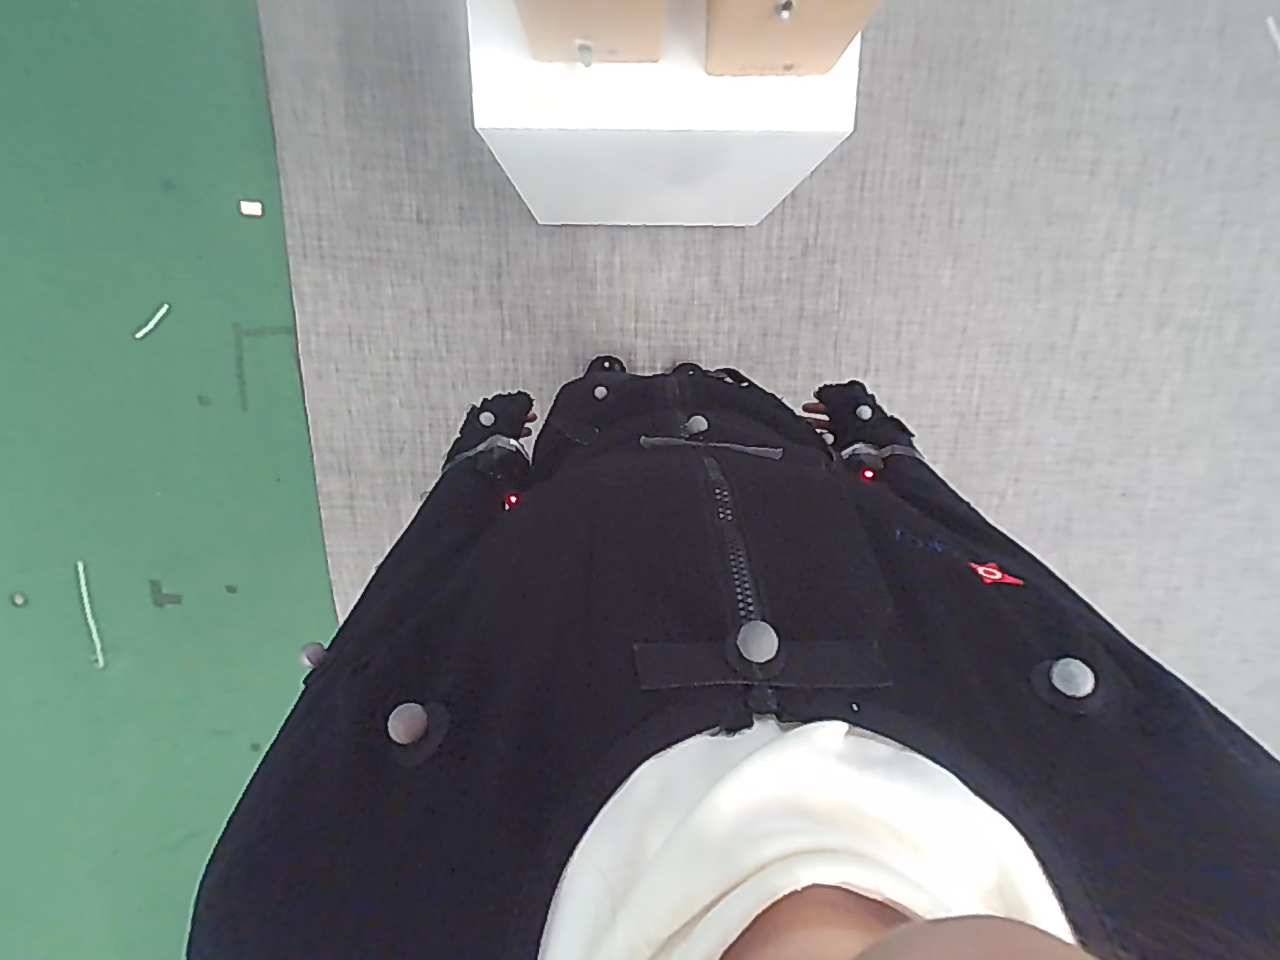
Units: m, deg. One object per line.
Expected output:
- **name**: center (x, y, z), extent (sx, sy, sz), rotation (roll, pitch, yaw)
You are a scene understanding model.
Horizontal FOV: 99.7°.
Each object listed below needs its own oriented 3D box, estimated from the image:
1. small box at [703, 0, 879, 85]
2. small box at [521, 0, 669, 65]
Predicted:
- **small box**: center (0.165, -0.596, 0.619), extent (0.168, 0.176, 0.179), rotation (0, 101, -1)
- **small box**: center (-0.054, -0.603, 0.598), extent (0.168, 0.176, 0.179), rotation (-2, 104, 0)
